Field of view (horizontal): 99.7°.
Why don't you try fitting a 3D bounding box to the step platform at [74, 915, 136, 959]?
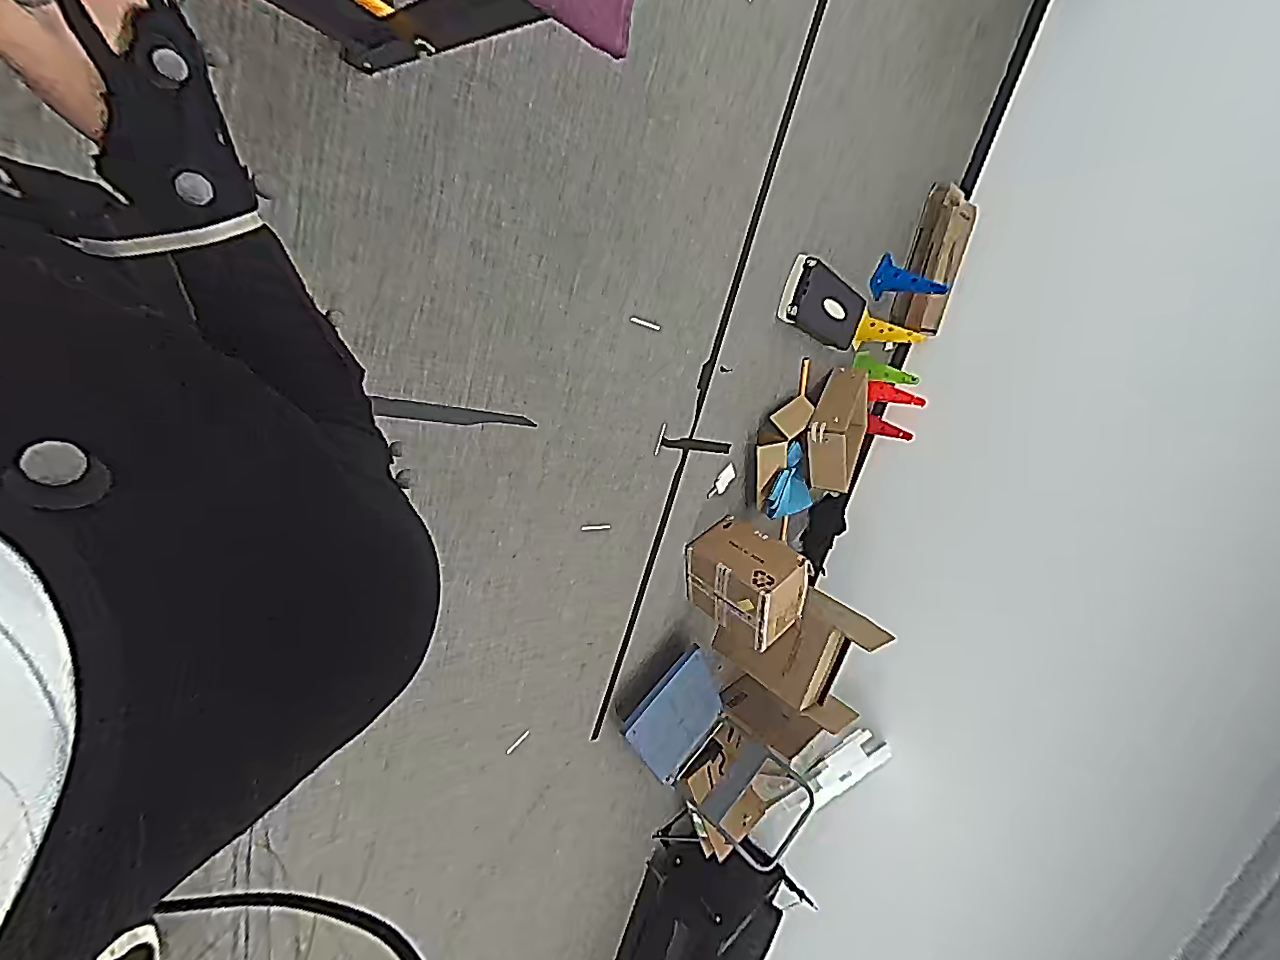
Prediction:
[{"bbox_3d":[-1.519,1.268,1.130,0.684,0.204,0.286,0,112,-49],"label":"step platform"}]
